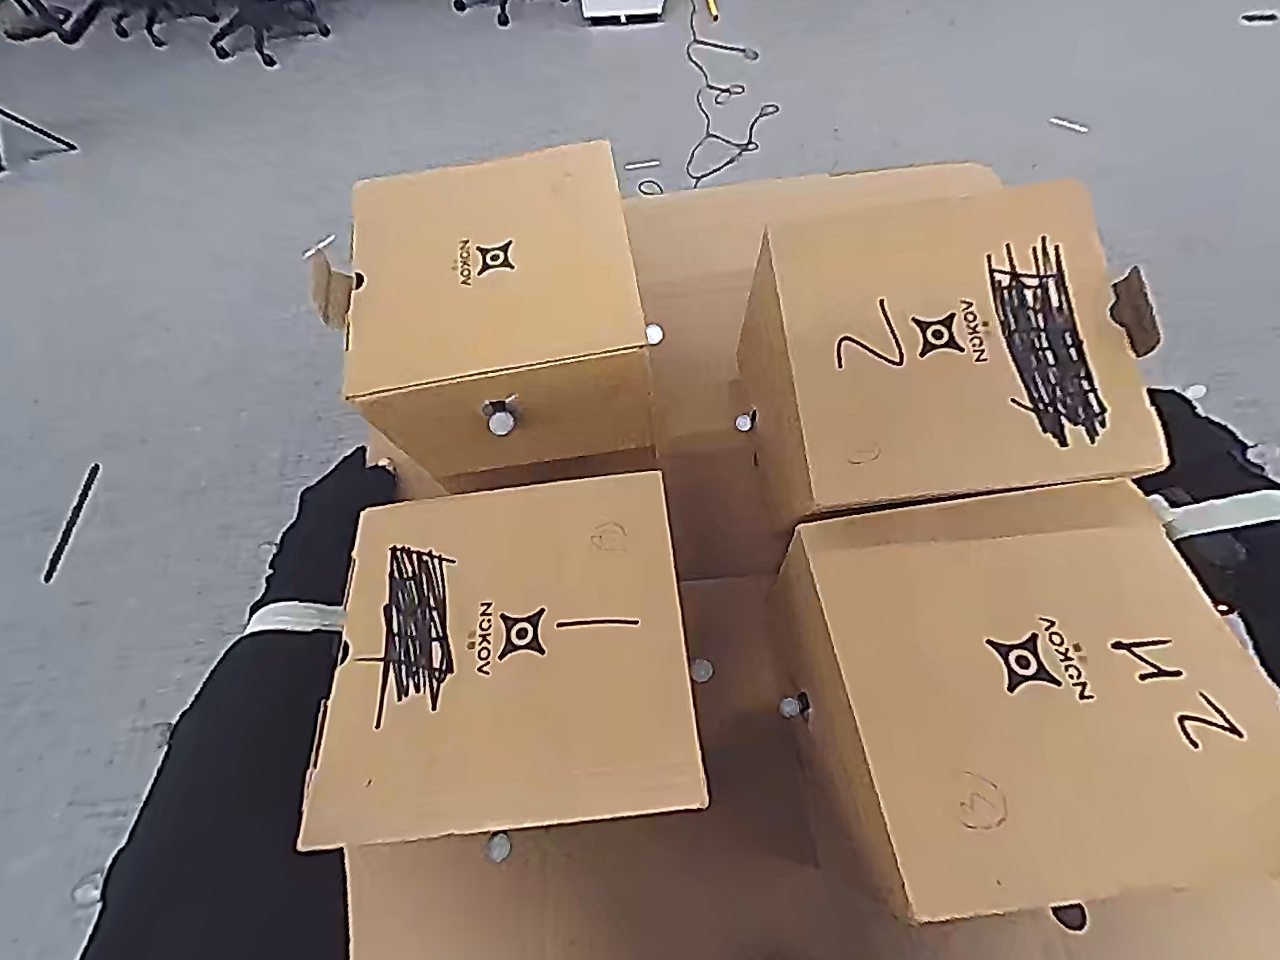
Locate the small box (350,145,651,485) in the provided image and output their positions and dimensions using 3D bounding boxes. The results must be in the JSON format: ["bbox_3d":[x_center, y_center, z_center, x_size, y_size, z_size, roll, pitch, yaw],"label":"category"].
[{"bbox_3d":[-0.088,-0.109,0.413,0.179,0.176,0.168,-10,69,2],"label":"small box"}]
